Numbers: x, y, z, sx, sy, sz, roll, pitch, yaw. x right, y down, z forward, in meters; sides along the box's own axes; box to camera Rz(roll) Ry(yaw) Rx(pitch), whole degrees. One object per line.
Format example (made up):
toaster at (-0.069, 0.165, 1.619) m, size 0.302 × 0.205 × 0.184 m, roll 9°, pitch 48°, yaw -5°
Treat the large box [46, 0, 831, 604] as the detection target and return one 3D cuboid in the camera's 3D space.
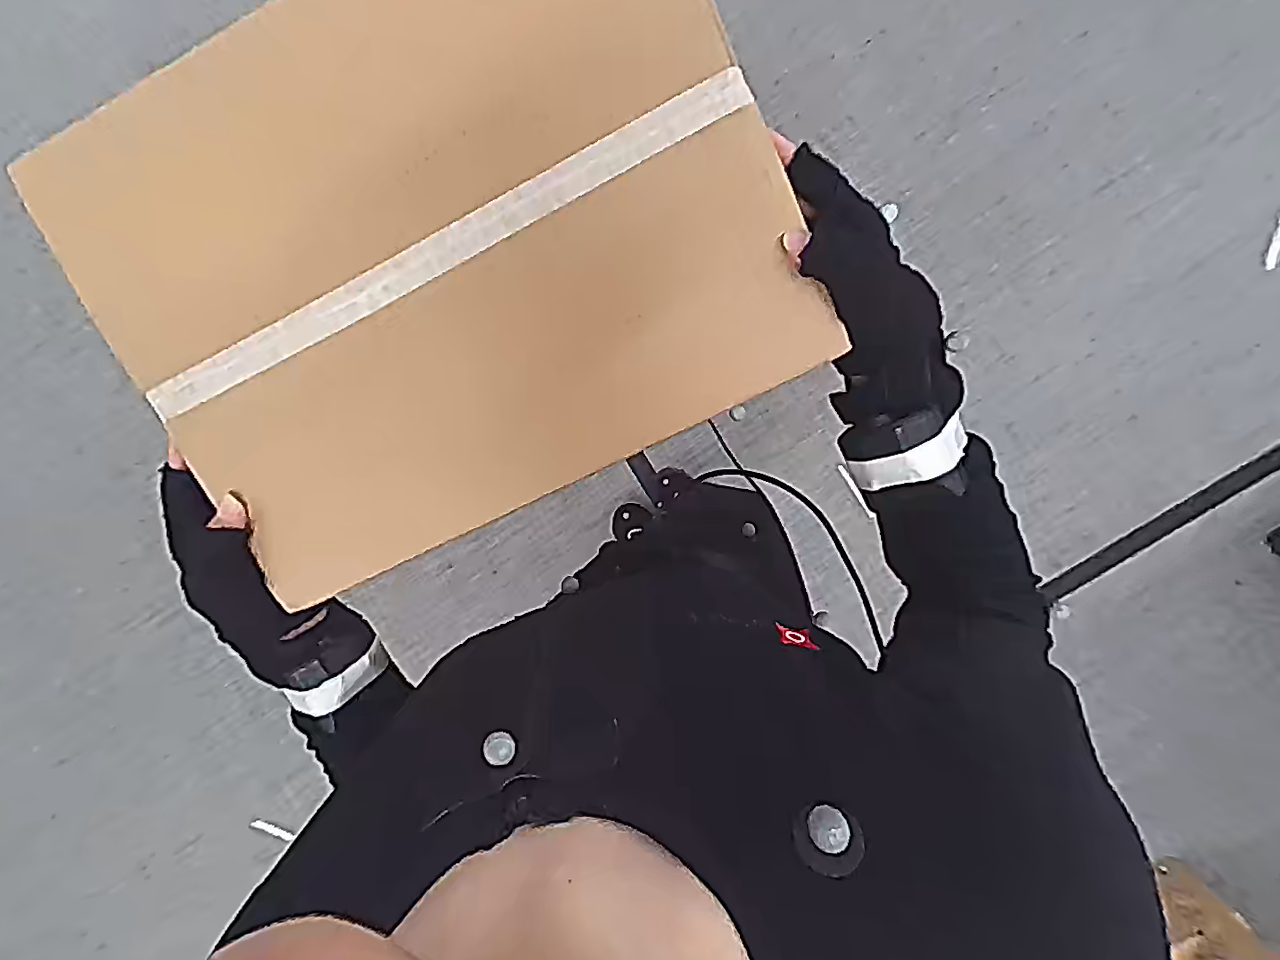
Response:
large box at (-0.116, -0.160, 0.476) m, size 0.408 × 0.320 × 0.320 m, roll -25°, pitch 99°, yaw 7°
